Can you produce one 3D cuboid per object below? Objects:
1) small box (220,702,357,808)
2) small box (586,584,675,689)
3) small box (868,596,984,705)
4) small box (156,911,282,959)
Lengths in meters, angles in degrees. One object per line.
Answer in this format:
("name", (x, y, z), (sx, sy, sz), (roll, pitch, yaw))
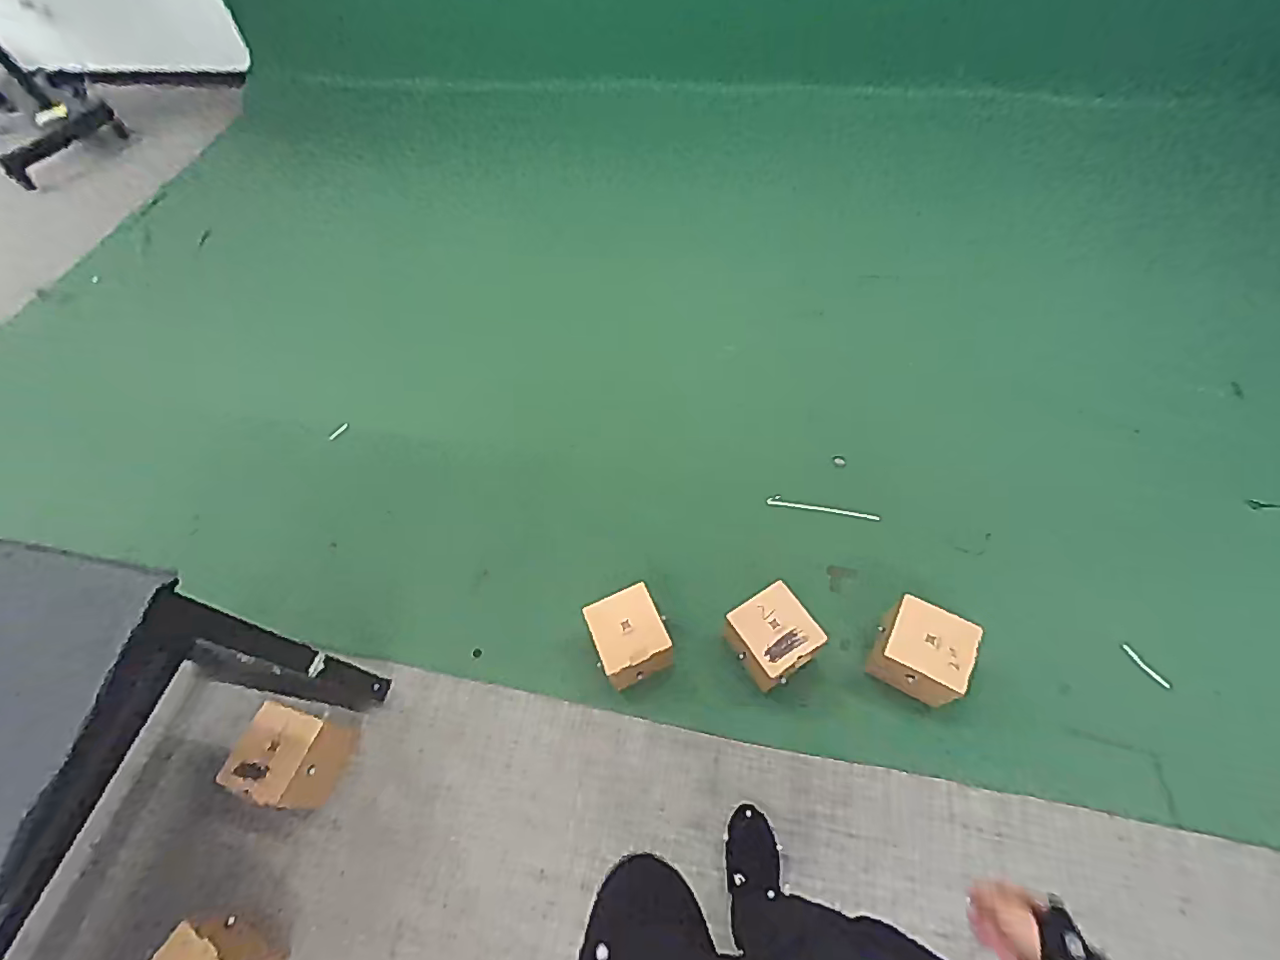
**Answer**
("small box", (-0.801, 0.641, 1.257), (0.168, 0.176, 0.179), (13, 60, 12))
("small box", (-0.023, 0.393, 1.344), (0.168, 0.176, 0.179), (-23, 61, -9))
("small box", (0.664, 0.408, 1.275), (0.179, 0.176, 0.168), (26, 65, 18))
("small box", (-0.845, 0.990, 1.052), (0.168, 0.176, 0.179), (26, 66, 19))
